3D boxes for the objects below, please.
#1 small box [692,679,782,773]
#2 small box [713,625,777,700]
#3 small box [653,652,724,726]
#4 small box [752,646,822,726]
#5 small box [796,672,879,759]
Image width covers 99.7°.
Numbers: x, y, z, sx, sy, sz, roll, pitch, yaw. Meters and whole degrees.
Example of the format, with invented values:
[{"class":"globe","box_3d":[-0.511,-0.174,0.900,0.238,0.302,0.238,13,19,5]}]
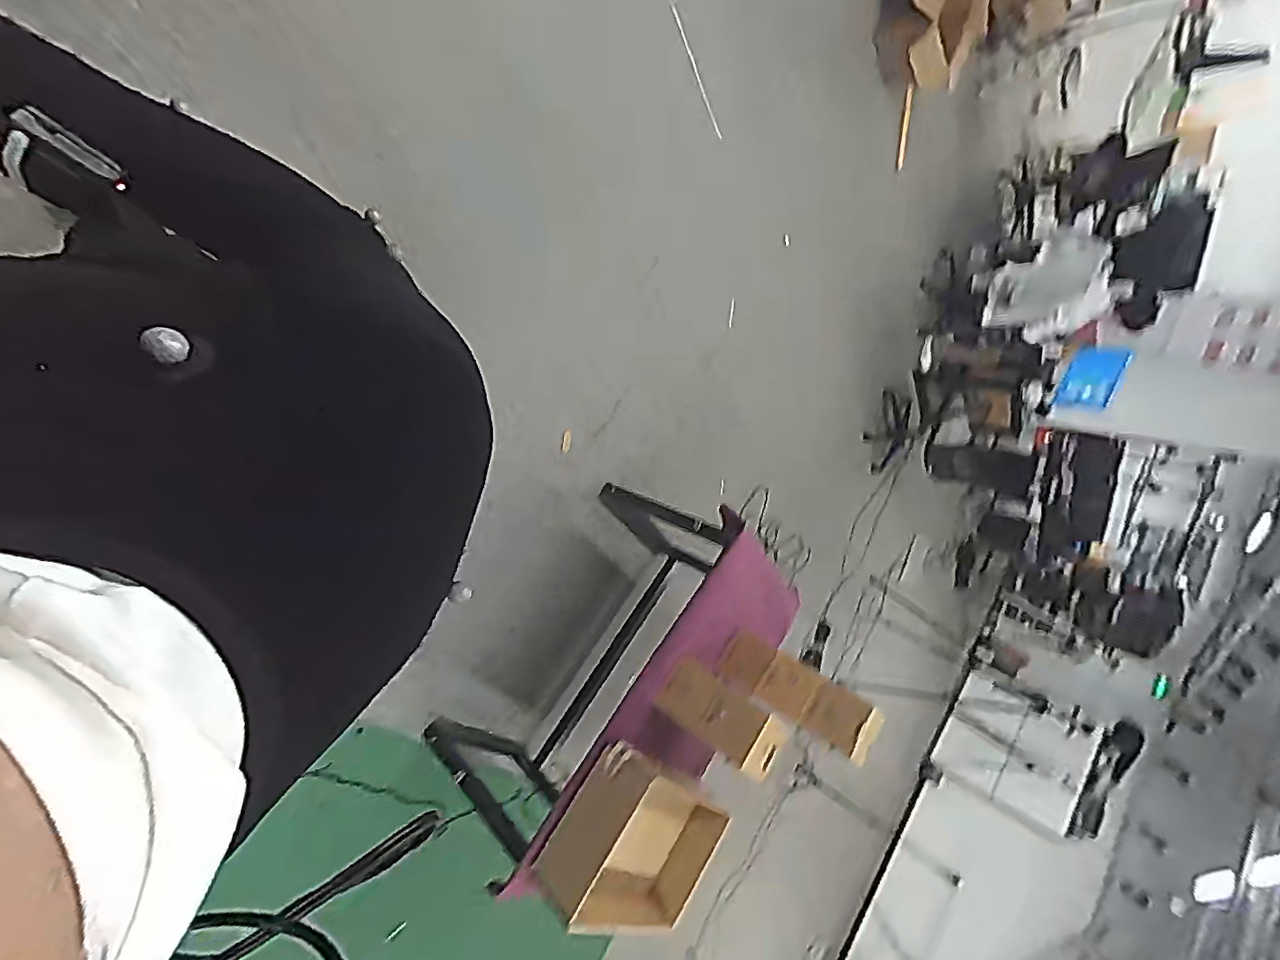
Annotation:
[{"class":"small box","box_3d":[0.280,0.706,1.563,0.168,0.176,0.179,-53,136,-17]},{"class":"small box","box_3d":[0.382,0.630,1.885,0.168,0.176,0.179,-53,135,-15]},{"class":"small box","box_3d":[0.168,0.660,1.673,0.168,0.176,0.179,-53,136,-16]},{"class":"small box","box_3d":[0.491,0.670,1.773,0.168,0.176,0.179,-54,136,-15]},{"class":"small box","box_3d":[0.605,0.718,1.664,0.168,0.176,0.179,-54,135,-14]}]
